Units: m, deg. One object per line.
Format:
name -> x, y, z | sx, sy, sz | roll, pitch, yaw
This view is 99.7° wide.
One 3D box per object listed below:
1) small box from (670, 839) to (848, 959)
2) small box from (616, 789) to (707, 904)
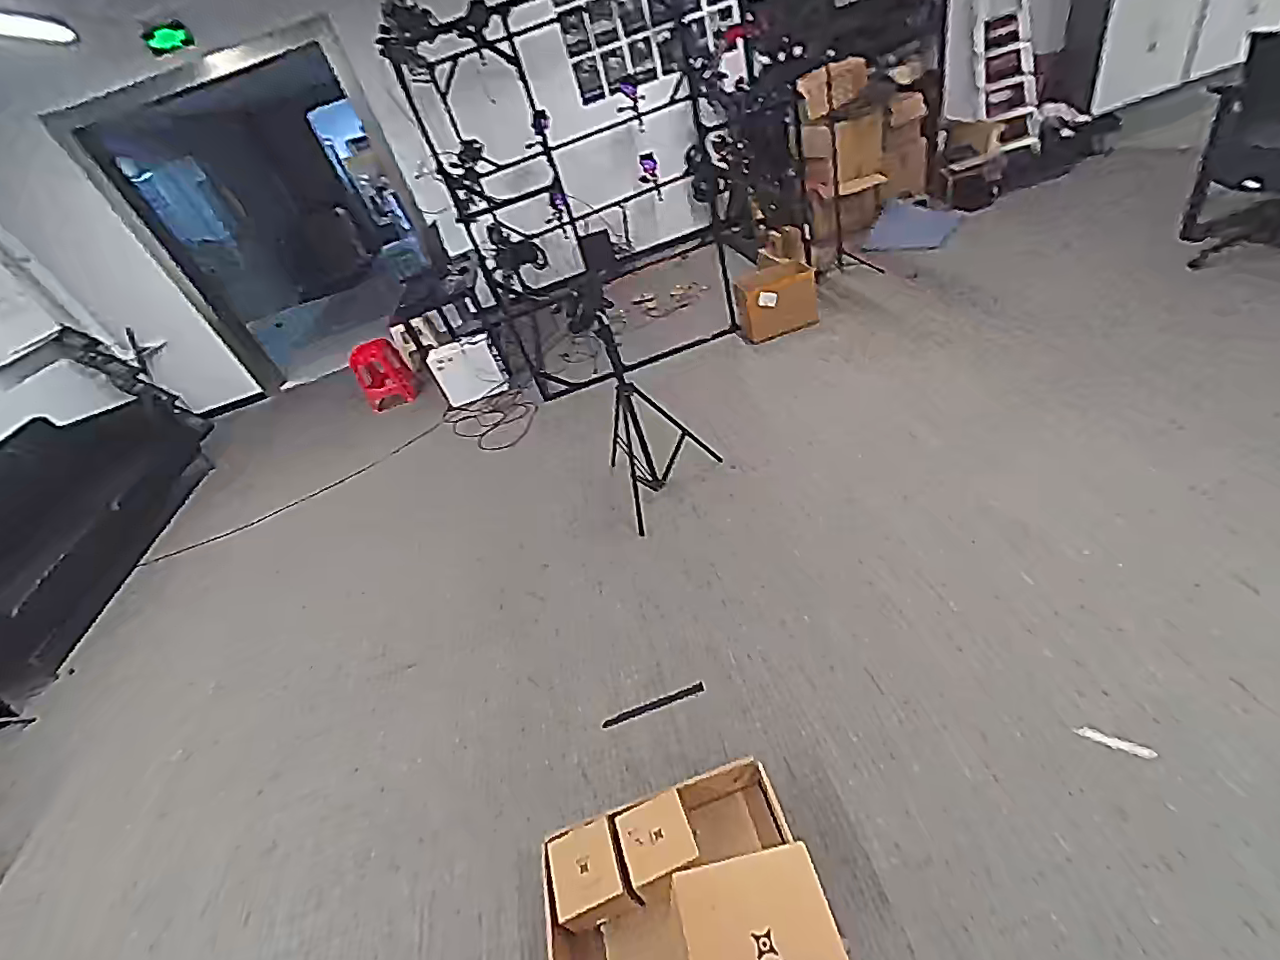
small box -> 0.132, 0.553, 0.616 | 0.168, 0.176, 0.179 | -9, 39, -8
small box -> 0.061, 0.928, 1.369 | 0.179, 0.176, 0.168 | -23, 38, -5
